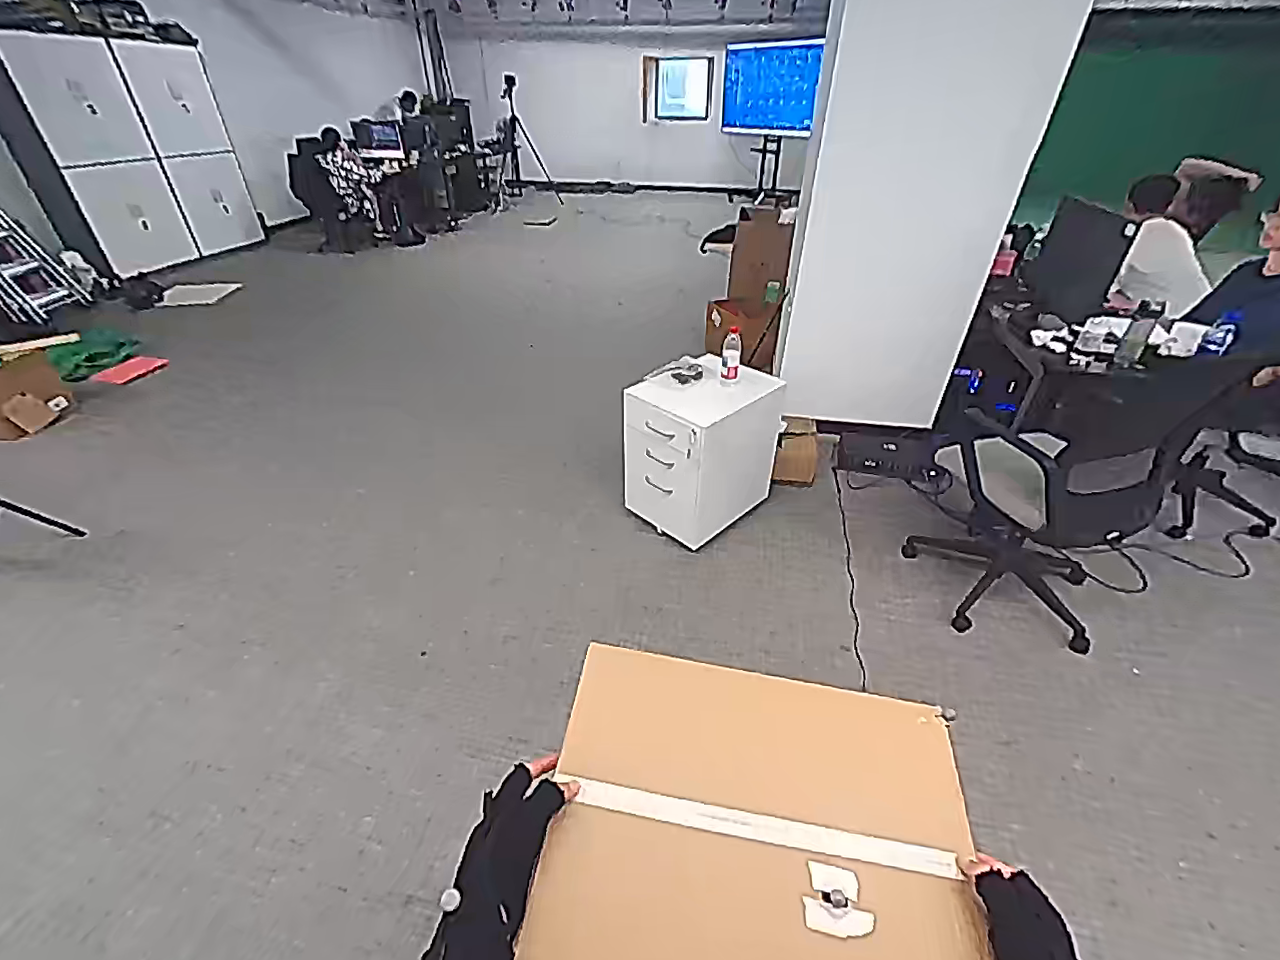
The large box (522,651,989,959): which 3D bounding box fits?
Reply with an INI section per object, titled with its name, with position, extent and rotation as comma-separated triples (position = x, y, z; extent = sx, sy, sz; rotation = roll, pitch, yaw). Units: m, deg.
[large box]
position = 0.108, 0.444, 0.632
extent = 0.408, 0.320, 0.320
rotation = 9, 45, 5
